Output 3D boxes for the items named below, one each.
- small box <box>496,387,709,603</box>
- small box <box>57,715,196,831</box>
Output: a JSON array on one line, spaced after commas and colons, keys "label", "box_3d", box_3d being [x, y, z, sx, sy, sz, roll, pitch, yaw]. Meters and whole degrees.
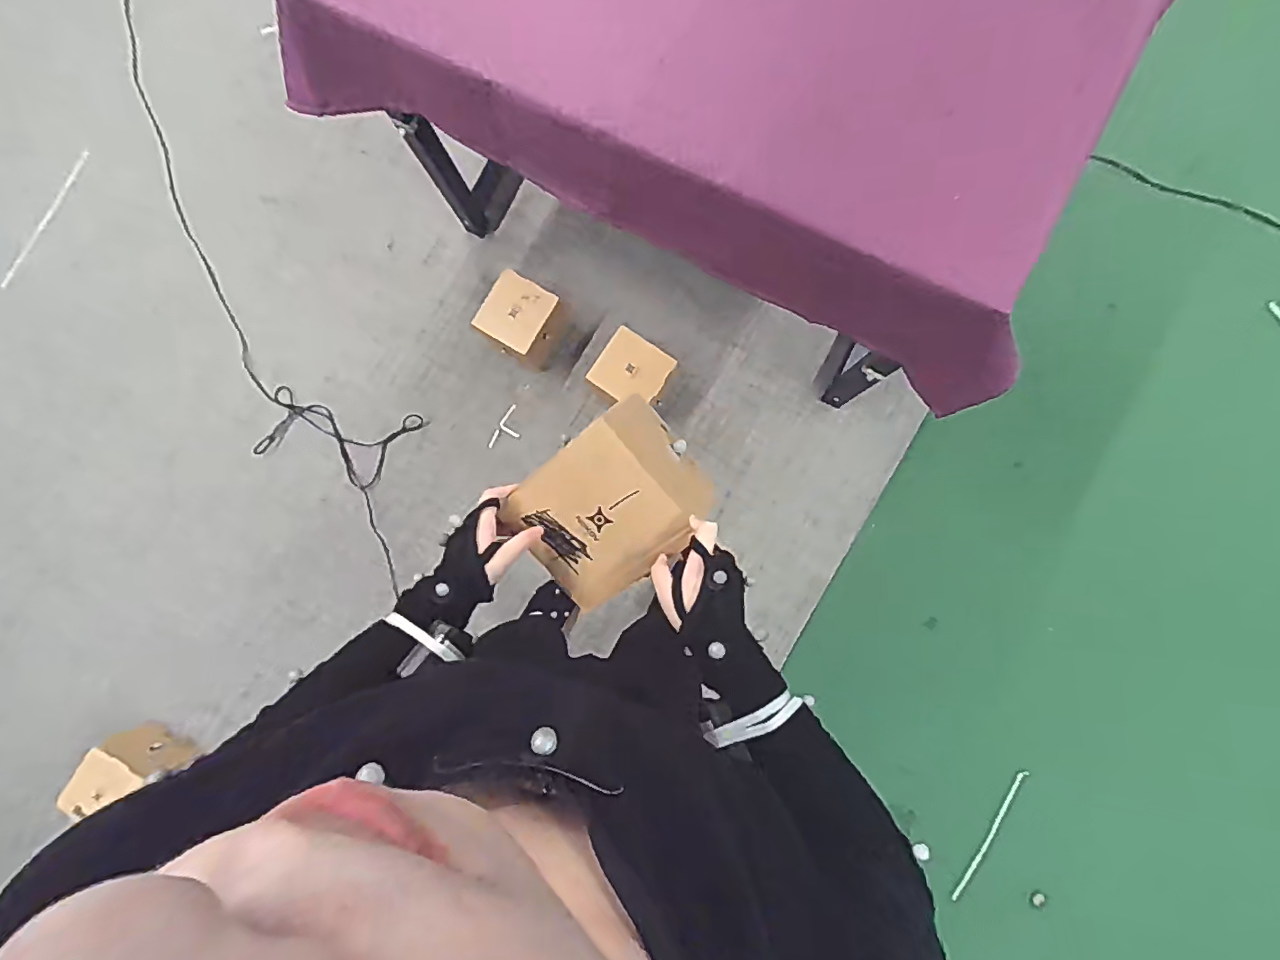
[{"label": "small box", "box_3d": [-0.033, 0.010, 0.663, 0.179, 0.176, 0.168, -38, 97, 21]}, {"label": "small box", "box_3d": [-1.323, 0.751, 1.412, 0.168, 0.176, 0.179, 33, 88, 5]}]
